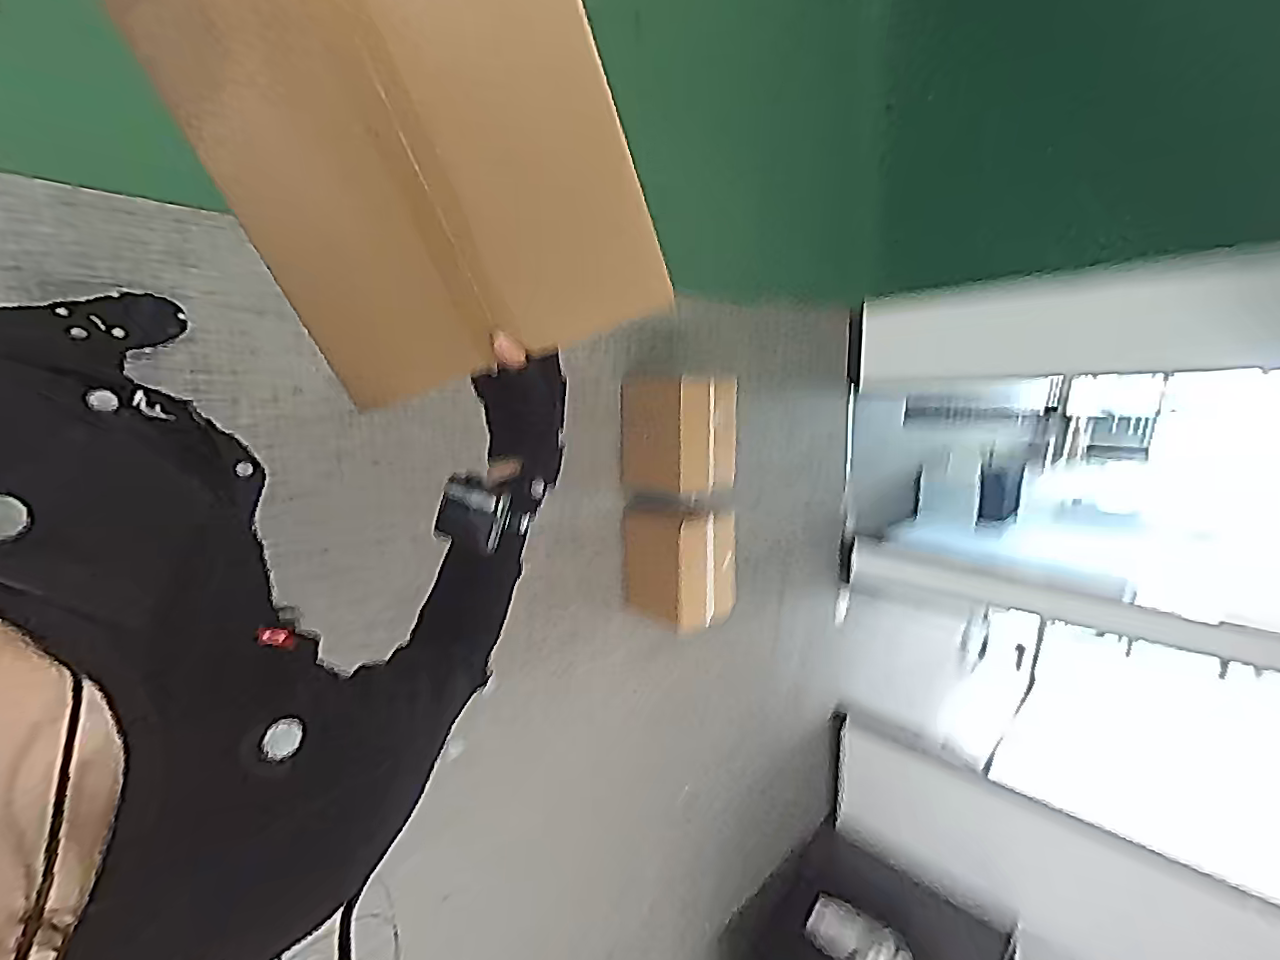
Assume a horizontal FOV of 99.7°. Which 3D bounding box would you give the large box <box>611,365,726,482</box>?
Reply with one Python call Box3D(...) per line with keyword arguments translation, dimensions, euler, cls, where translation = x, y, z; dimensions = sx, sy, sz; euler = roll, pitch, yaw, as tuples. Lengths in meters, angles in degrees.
Box3D(translation=(0.110, -0.221, 2.055), dimensions=(0.320, 0.320, 0.408), euler=(-10, 102, -44), cls="large box")
